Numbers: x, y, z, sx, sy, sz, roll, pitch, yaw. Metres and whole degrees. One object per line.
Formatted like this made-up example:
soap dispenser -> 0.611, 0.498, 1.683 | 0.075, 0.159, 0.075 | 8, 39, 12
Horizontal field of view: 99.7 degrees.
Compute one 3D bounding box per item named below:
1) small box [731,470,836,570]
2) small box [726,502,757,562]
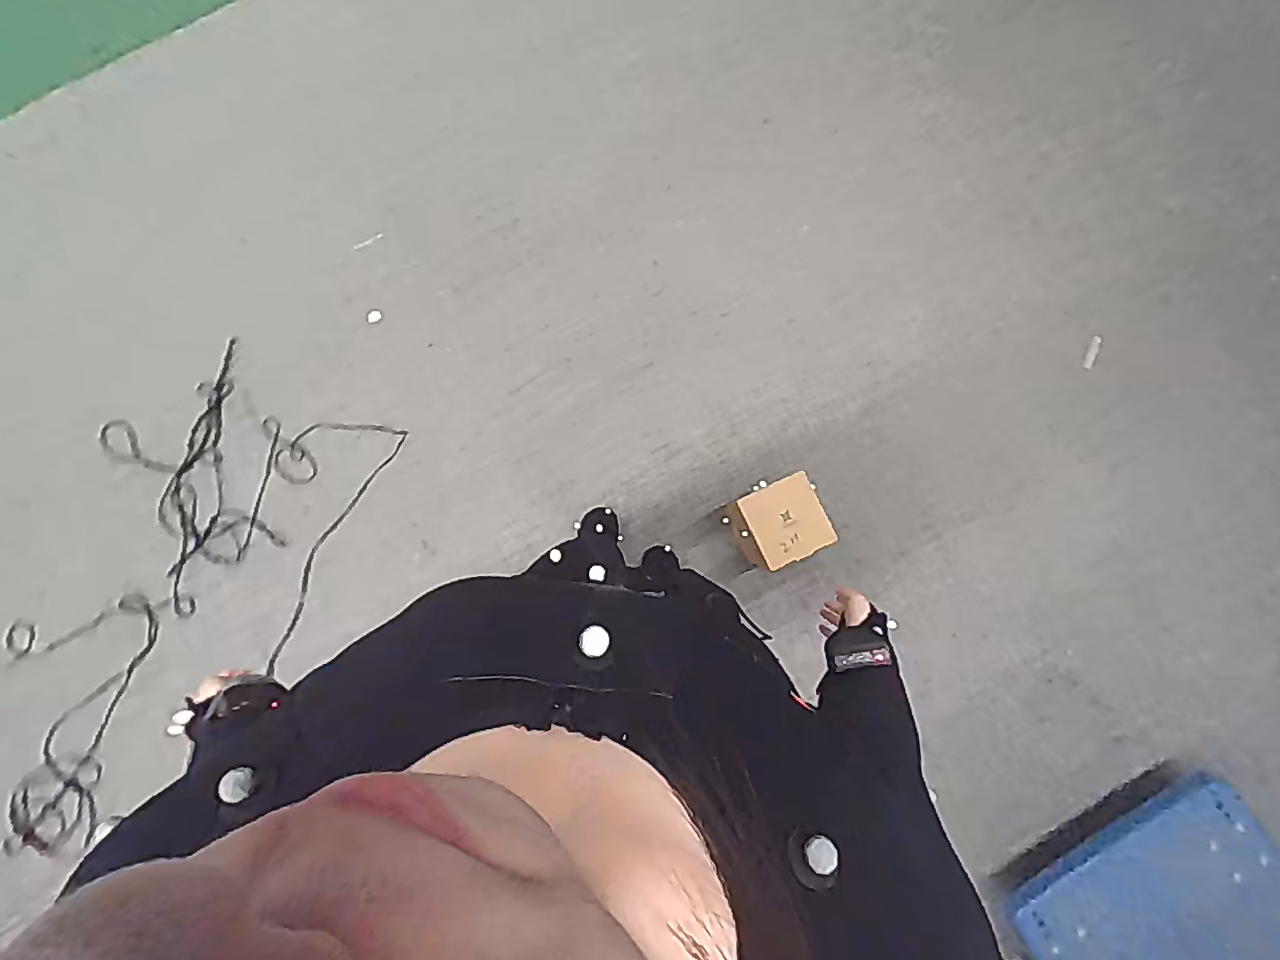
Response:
small box -> 0.325, 0.096, 1.266 | 0.168, 0.176, 0.179 | -25, 84, 1
small box -> 0.338, 0.107, 1.430 | 0.179, 0.176, 0.168 | -25, 84, -1
